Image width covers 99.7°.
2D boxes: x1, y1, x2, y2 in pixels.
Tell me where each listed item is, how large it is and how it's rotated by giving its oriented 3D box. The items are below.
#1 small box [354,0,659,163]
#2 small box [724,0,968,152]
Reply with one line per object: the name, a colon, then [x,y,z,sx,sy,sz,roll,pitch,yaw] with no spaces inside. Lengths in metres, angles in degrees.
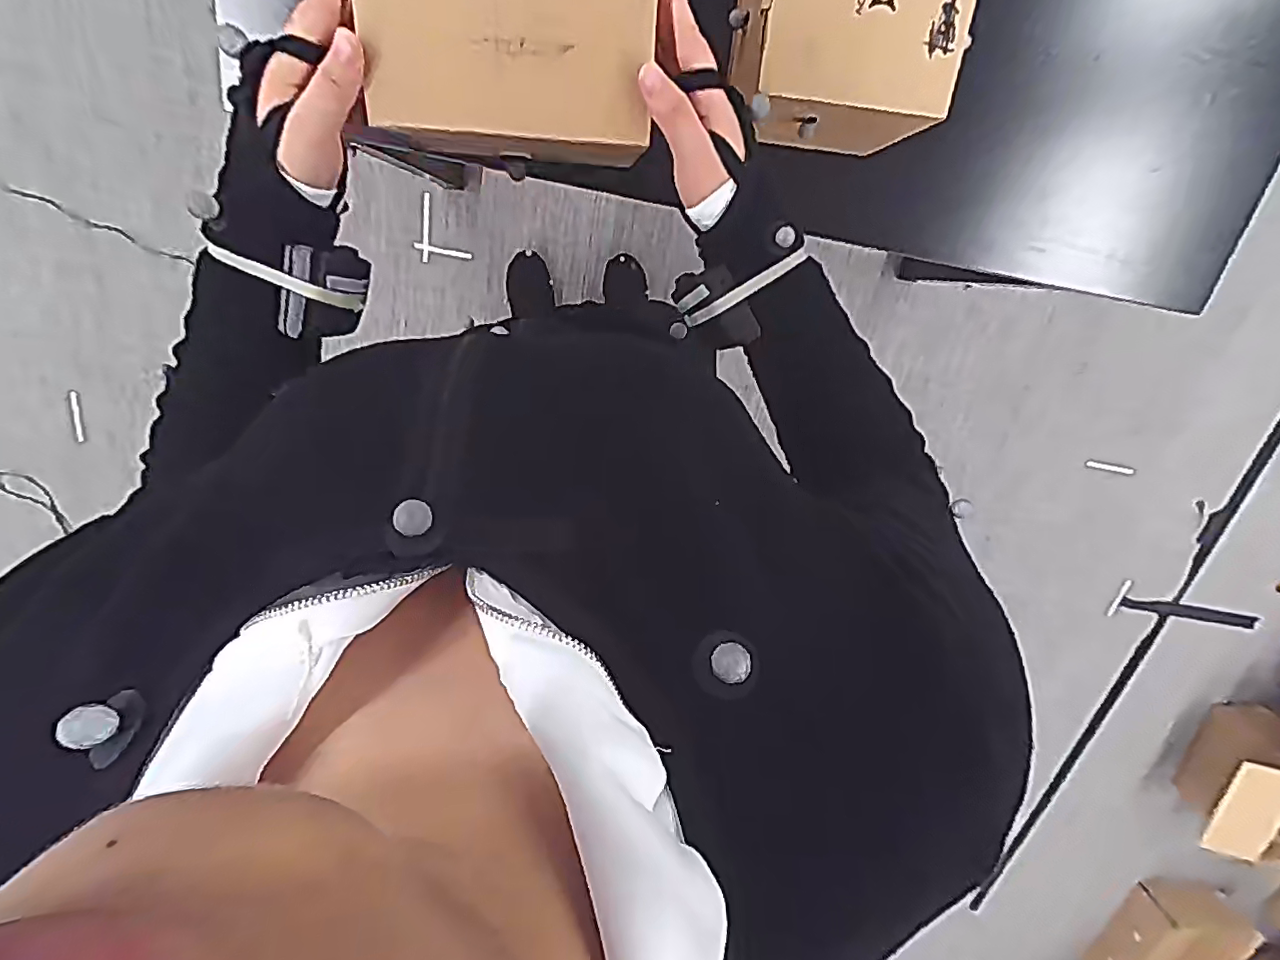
small box: [-0.077,-0.322,0.355,0.168,0.176,0.179,1,116,-6]
small box: [0.187,-0.433,0.522,0.179,0.176,0.168,5,111,-4]
